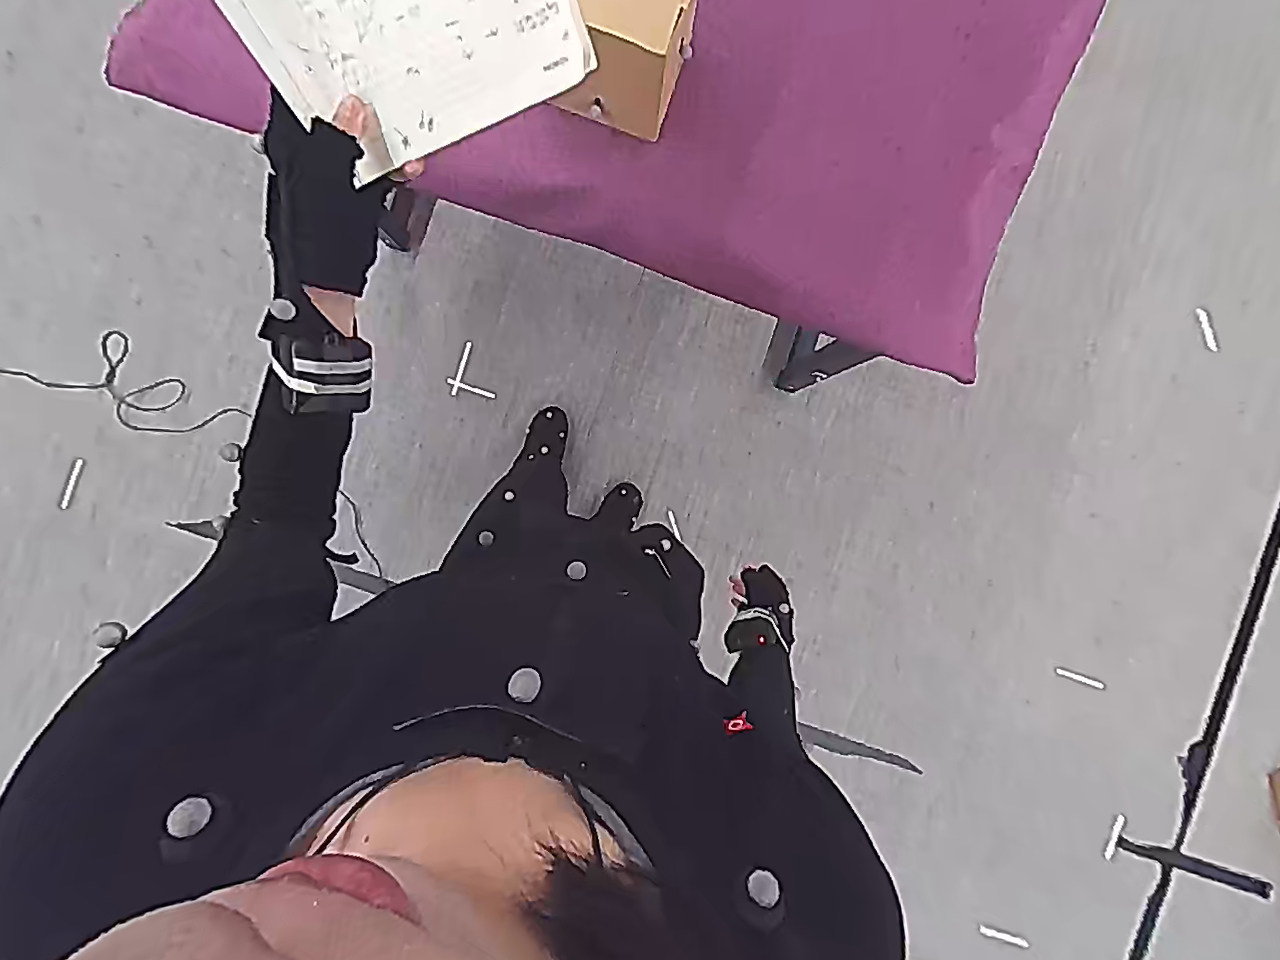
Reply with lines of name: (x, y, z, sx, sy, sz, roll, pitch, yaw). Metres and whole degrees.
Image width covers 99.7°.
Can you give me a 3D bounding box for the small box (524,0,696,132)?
small box: (-0.028, -0.587, 0.685, 0.179, 0.176, 0.168, 19, 90, -4)
